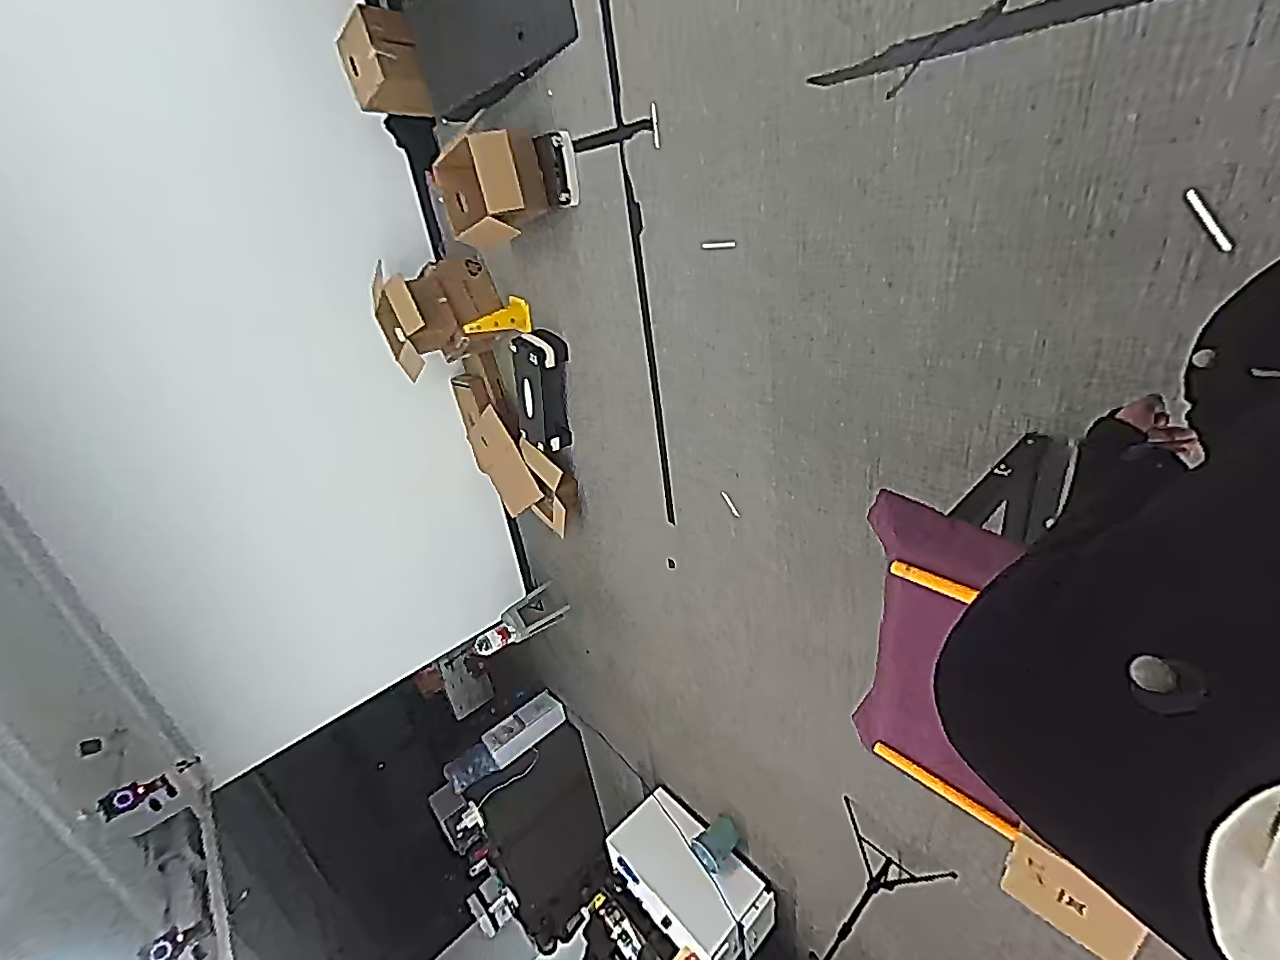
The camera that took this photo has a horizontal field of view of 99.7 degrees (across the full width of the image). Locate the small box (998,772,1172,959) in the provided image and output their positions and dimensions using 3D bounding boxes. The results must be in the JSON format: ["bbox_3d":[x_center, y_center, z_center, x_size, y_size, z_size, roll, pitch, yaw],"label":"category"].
[{"bbox_3d":[0.741,0.639,0.904,0.179,0.176,0.168,22,128,44],"label":"small box"}]
